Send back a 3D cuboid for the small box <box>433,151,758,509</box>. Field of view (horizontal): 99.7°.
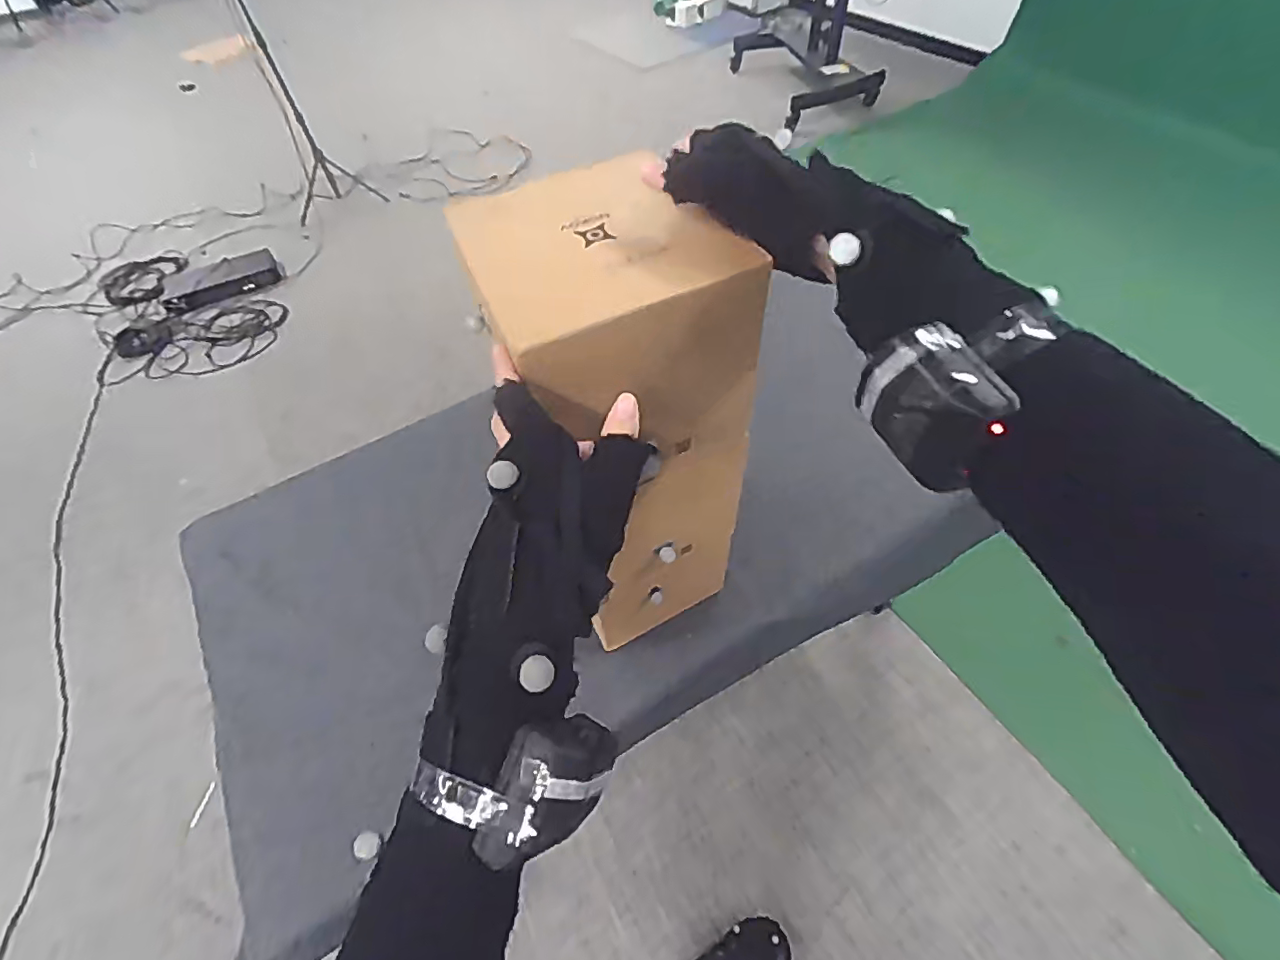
[{"bbox_3d":[-0.033,-0.110,0.411,0.168,0.176,0.179,-23,56,-10],"label":"small box"}]

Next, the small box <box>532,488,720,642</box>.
[{"bbox_3d":[-0.009,0.076,0.680,0.179,0.176,0.168,-27,57,-13],"label":"small box"}]

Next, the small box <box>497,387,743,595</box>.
[{"bbox_3d":[-0.019,-0.018,0.545,0.168,0.176,0.179,-28,56,-15],"label":"small box"}]
